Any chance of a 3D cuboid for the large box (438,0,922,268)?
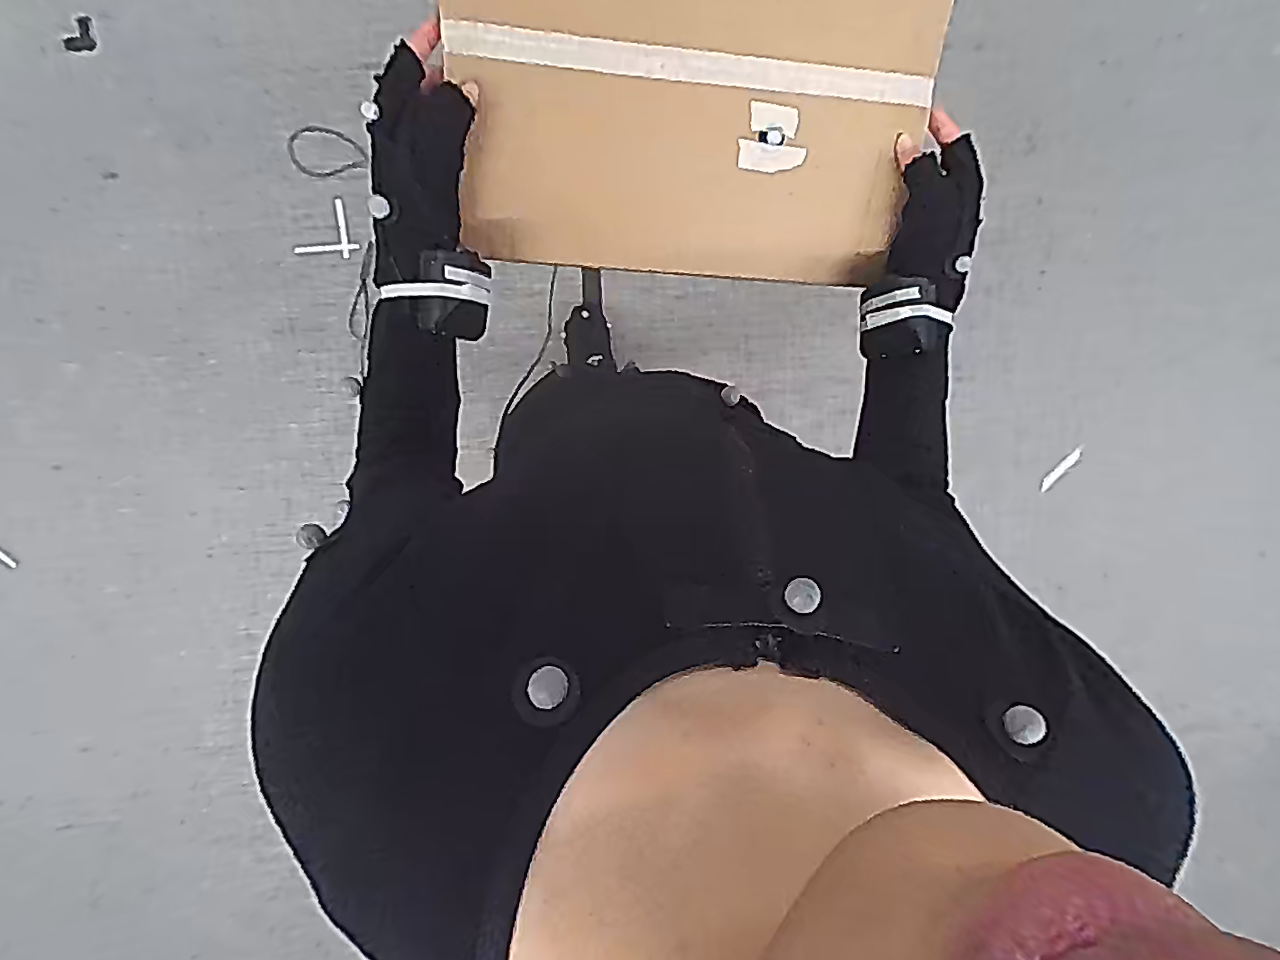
[{"bbox_3d":[0.019,-0.404,0.592,0.408,0.320,0.320,0,112,-7],"label":"large box"}]
